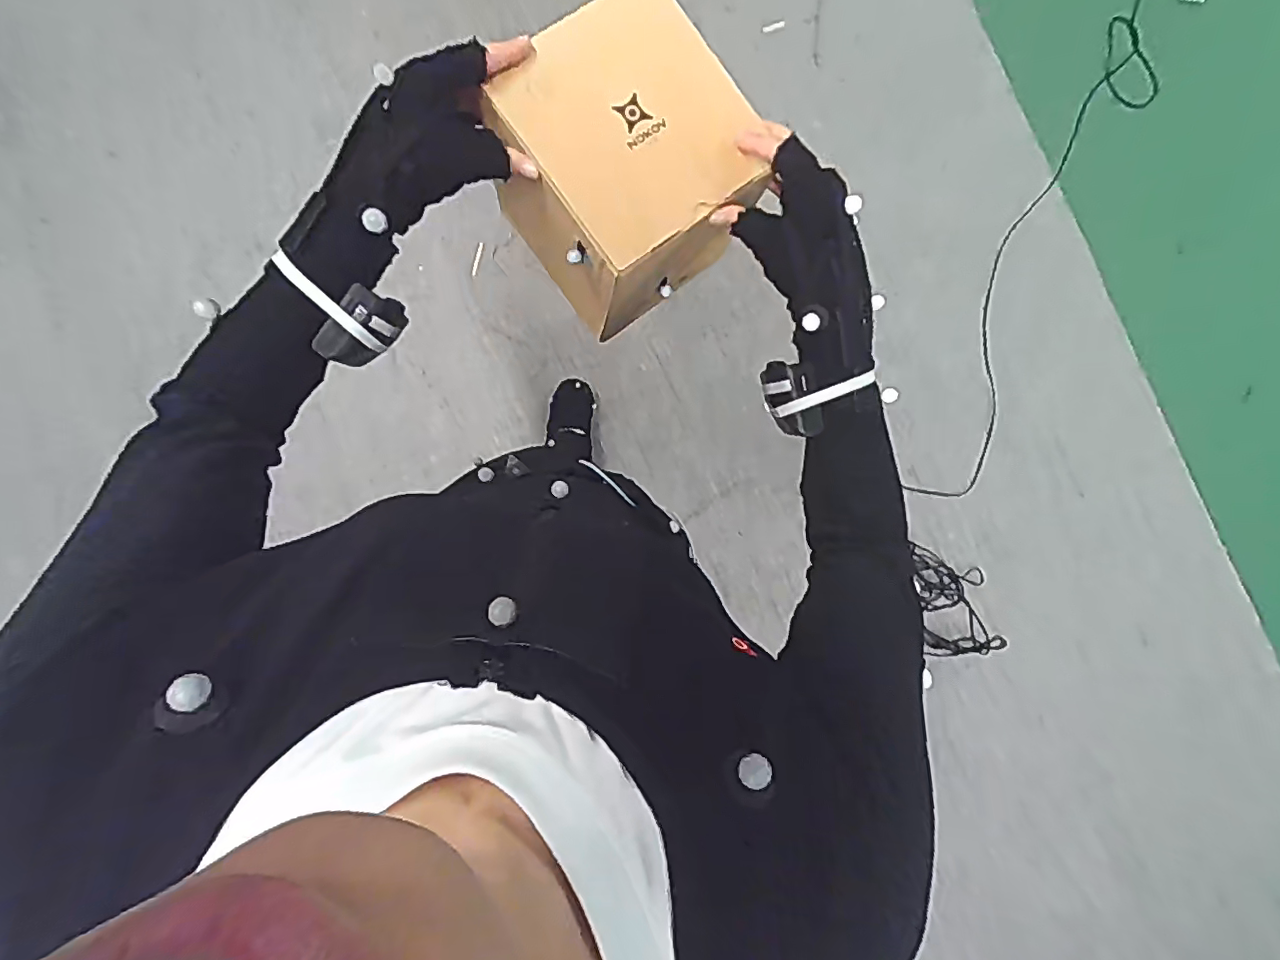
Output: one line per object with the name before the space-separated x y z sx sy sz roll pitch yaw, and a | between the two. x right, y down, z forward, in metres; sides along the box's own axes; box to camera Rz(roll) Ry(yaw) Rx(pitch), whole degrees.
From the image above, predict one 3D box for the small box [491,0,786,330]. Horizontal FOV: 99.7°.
small box | -0.010 -0.268 0.489 0.168 0.176 0.179 -37 94 -9
